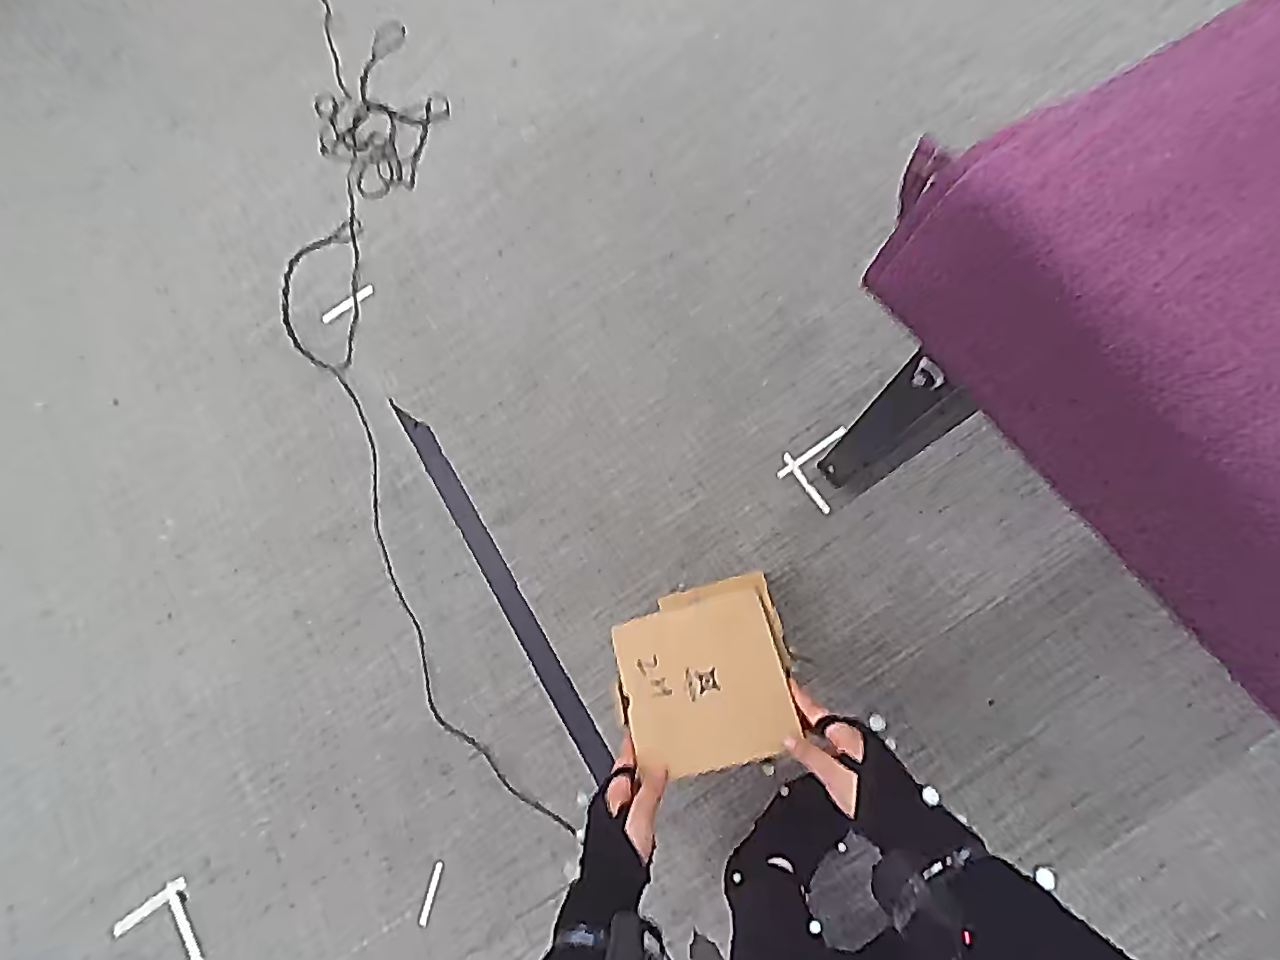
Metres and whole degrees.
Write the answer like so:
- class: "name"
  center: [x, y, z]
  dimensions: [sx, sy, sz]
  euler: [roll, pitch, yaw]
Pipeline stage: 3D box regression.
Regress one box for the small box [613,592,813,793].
- class: "small box"
  center: [0.088, 0.246, 0.629]
  dimensions: [0.179, 0.176, 0.168]
  euler: [-19, 62, 10]
